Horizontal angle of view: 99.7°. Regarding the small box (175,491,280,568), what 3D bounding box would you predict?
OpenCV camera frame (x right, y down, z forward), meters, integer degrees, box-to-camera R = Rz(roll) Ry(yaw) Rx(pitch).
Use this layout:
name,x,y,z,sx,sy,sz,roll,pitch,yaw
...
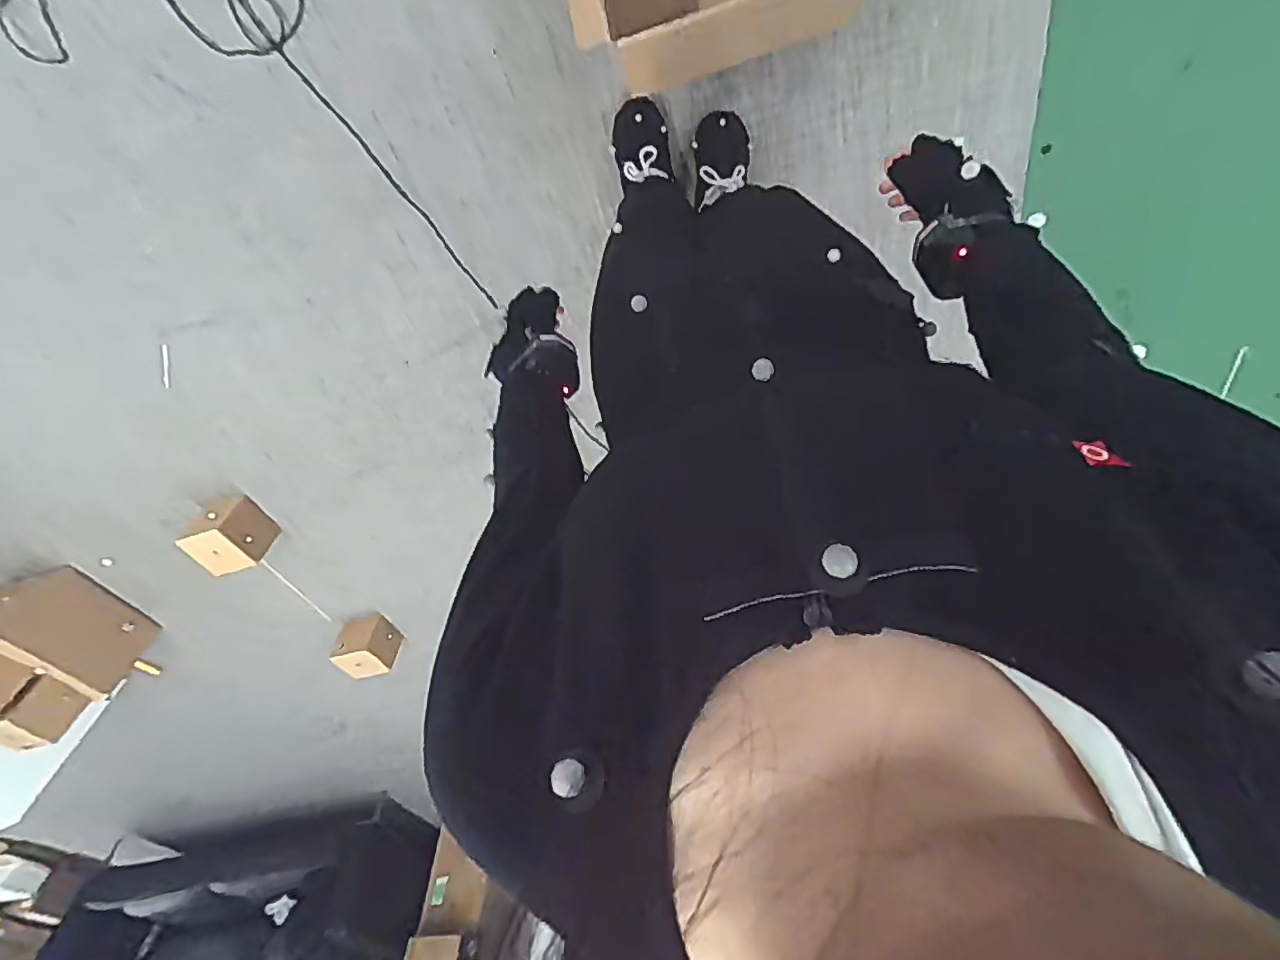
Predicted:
name,x,y,z,sx,sy,sz,roll,pitch,yaw
small box,-1.333,0.154,1.759,0.168,0.176,0.179,-15,130,10

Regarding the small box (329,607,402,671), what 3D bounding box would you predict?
name,x,y,z,sx,sy,sz,roll,pitch,yaw
small box,-1.101,0.641,2.183,0.179,0.176,0.168,-15,130,11
